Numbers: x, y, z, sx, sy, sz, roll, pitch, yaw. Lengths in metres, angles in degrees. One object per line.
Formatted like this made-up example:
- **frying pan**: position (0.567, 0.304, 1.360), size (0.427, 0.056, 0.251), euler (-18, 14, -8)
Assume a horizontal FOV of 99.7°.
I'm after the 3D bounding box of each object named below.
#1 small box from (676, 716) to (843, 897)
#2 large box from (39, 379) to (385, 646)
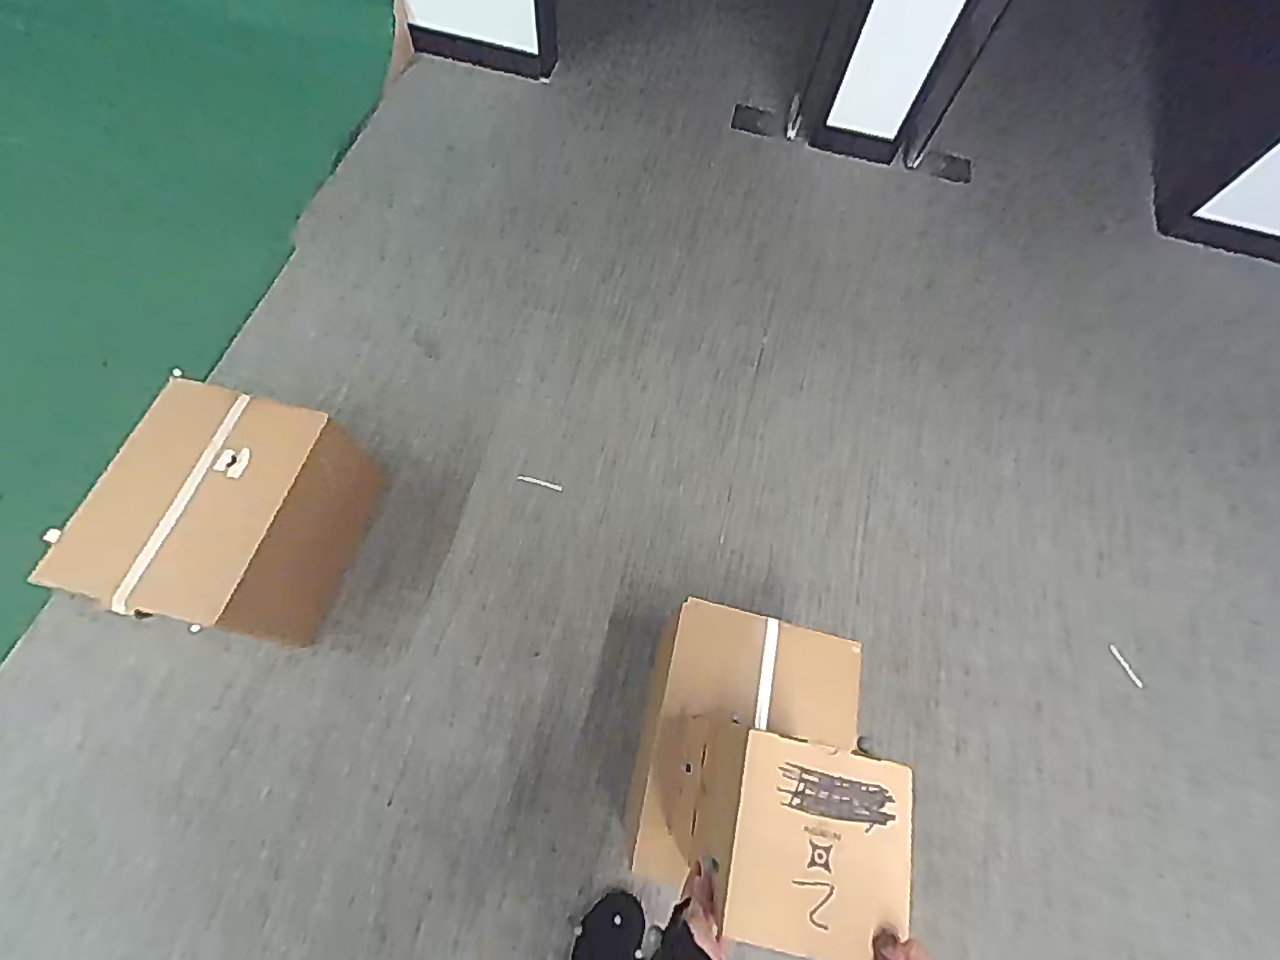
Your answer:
- **small box**: position (0.154, 0.425, 0.735), size (0.179, 0.176, 0.168), euler (12, 68, 3)
- **large box**: position (-0.776, 0.078, 1.064), size (0.320, 0.320, 0.408), euler (14, 66, 2)
